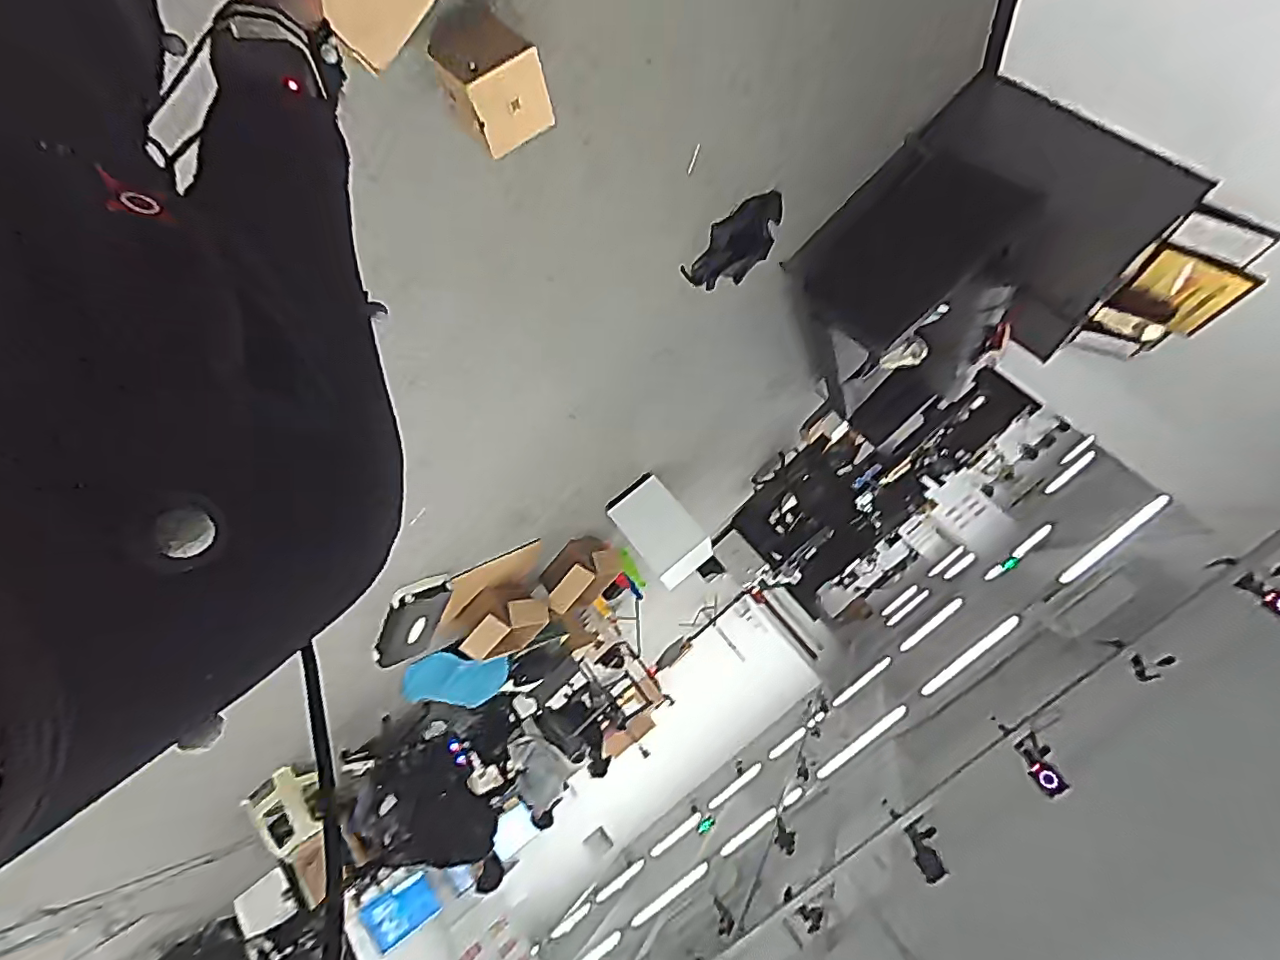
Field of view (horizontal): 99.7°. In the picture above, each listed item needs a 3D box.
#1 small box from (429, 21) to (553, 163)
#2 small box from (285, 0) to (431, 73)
[{"bbox_3d":[-0.325,-0.857,1.192,0.179,0.176,0.168,-37,159,-8],"label":"small box"},{"bbox_3d":[-0.289,-0.530,0.490,0.179,0.176,0.168,-51,152,8],"label":"small box"}]
